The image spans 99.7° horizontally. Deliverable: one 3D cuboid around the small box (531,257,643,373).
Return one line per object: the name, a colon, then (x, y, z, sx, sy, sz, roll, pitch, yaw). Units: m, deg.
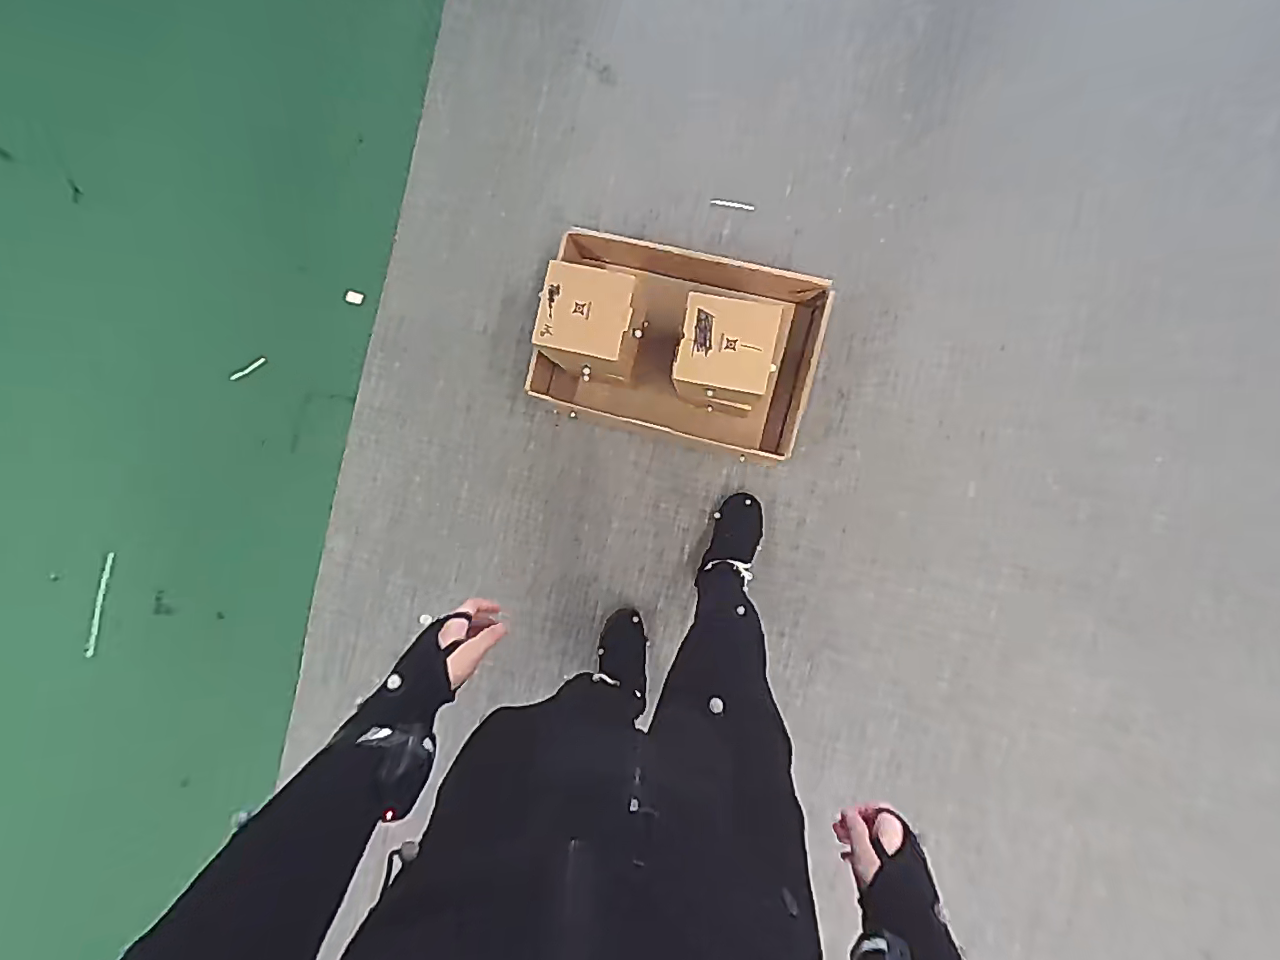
small box: (-0.098, -0.325, 1.100, 0.179, 0.176, 0.168, 14, 91, 5)

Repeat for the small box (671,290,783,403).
small box: (0.168, -0.255, 1.068, 0.179, 0.176, 0.168, 12, 92, 6)

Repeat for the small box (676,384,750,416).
small box: (0.189, -0.254, 1.232, 0.168, 0.176, 0.179, 17, 92, 7)

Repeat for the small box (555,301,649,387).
small box: (-0.080, -0.328, 1.264, 0.168, 0.176, 0.179, 15, 91, 6)
